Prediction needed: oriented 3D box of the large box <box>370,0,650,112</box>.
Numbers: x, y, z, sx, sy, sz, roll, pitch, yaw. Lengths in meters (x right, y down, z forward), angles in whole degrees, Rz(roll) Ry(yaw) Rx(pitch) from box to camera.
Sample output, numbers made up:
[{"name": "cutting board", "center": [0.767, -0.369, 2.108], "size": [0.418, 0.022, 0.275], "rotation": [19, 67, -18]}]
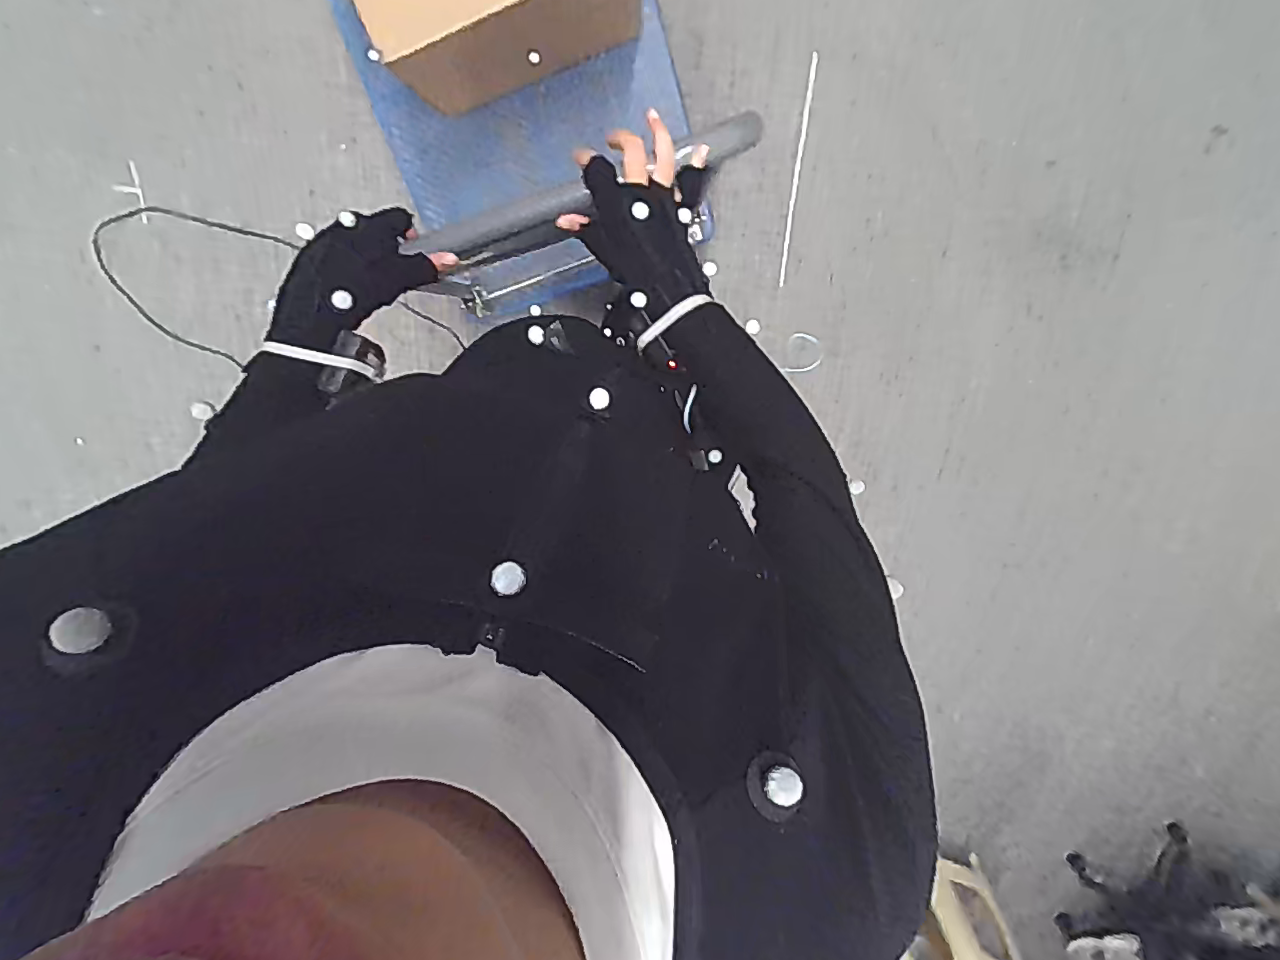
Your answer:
[{"name": "large box", "center": [-0.220, -0.858, 0.846], "size": [0.408, 0.320, 0.320], "rotation": [-19, 110, 7]}]
